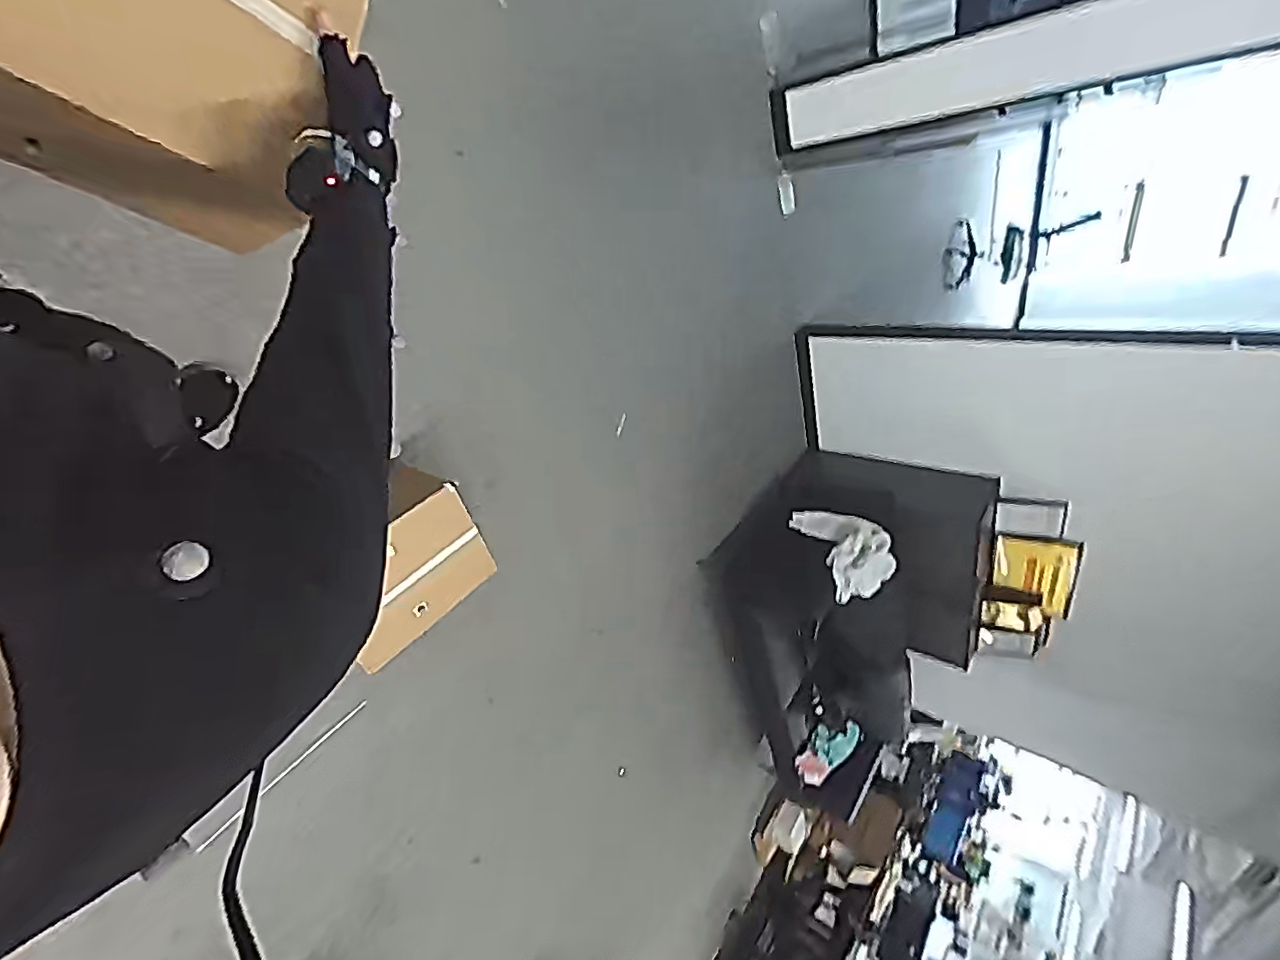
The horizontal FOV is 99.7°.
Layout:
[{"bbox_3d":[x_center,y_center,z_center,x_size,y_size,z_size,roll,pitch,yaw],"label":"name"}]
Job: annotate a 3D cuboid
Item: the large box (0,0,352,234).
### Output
[{"bbox_3d":[-0.539,-0.481,0.500,0.408,0.320,0.320,14,89,-48],"label":"large box"}]
